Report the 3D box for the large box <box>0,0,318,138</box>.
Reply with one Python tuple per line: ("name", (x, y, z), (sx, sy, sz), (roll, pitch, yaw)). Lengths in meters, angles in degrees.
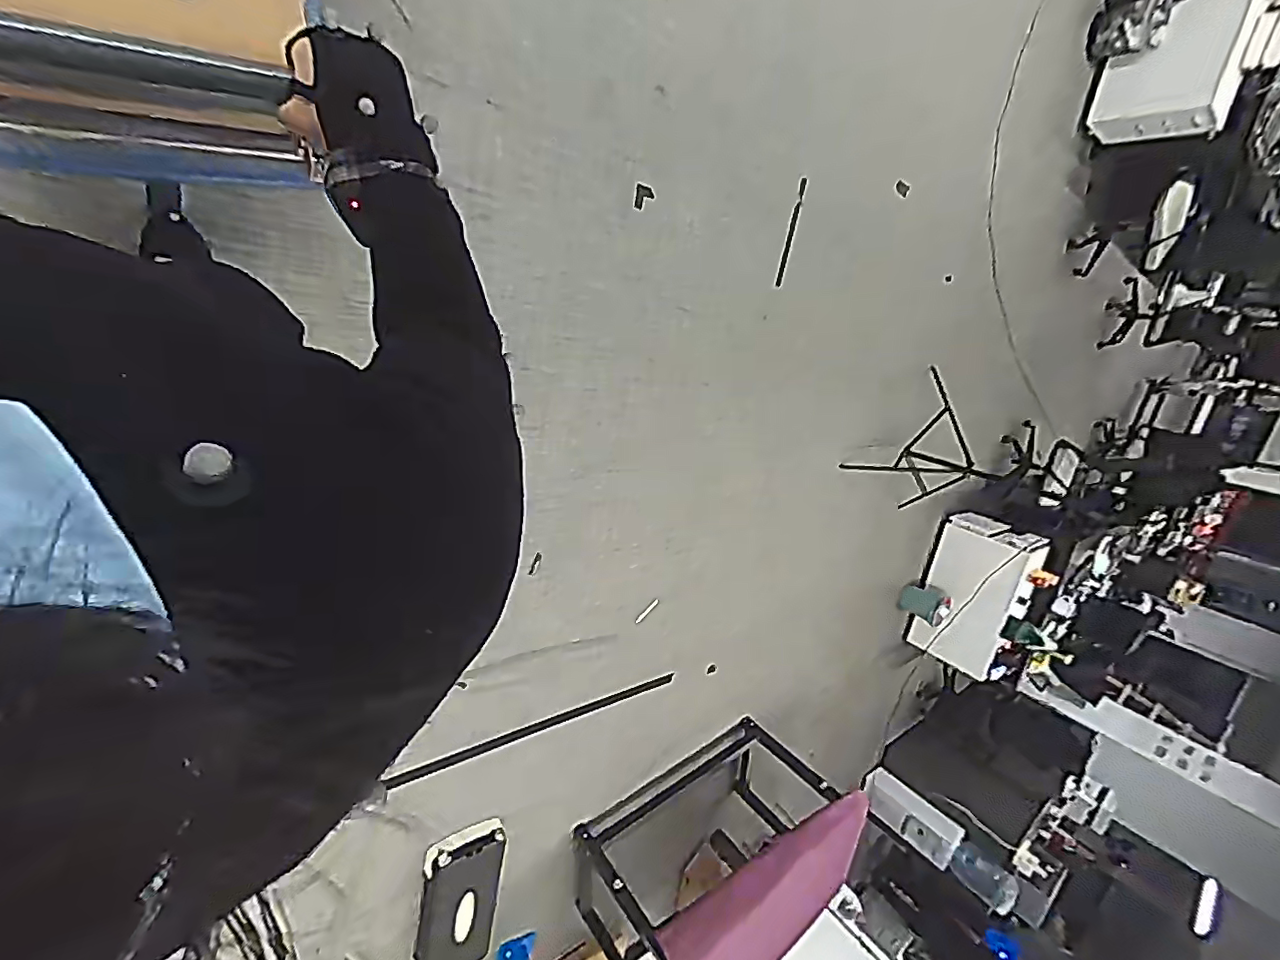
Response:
("large box", (-0.700, -0.669, 0.701), (0.408, 0.320, 0.320), (-15, 118, -35))
